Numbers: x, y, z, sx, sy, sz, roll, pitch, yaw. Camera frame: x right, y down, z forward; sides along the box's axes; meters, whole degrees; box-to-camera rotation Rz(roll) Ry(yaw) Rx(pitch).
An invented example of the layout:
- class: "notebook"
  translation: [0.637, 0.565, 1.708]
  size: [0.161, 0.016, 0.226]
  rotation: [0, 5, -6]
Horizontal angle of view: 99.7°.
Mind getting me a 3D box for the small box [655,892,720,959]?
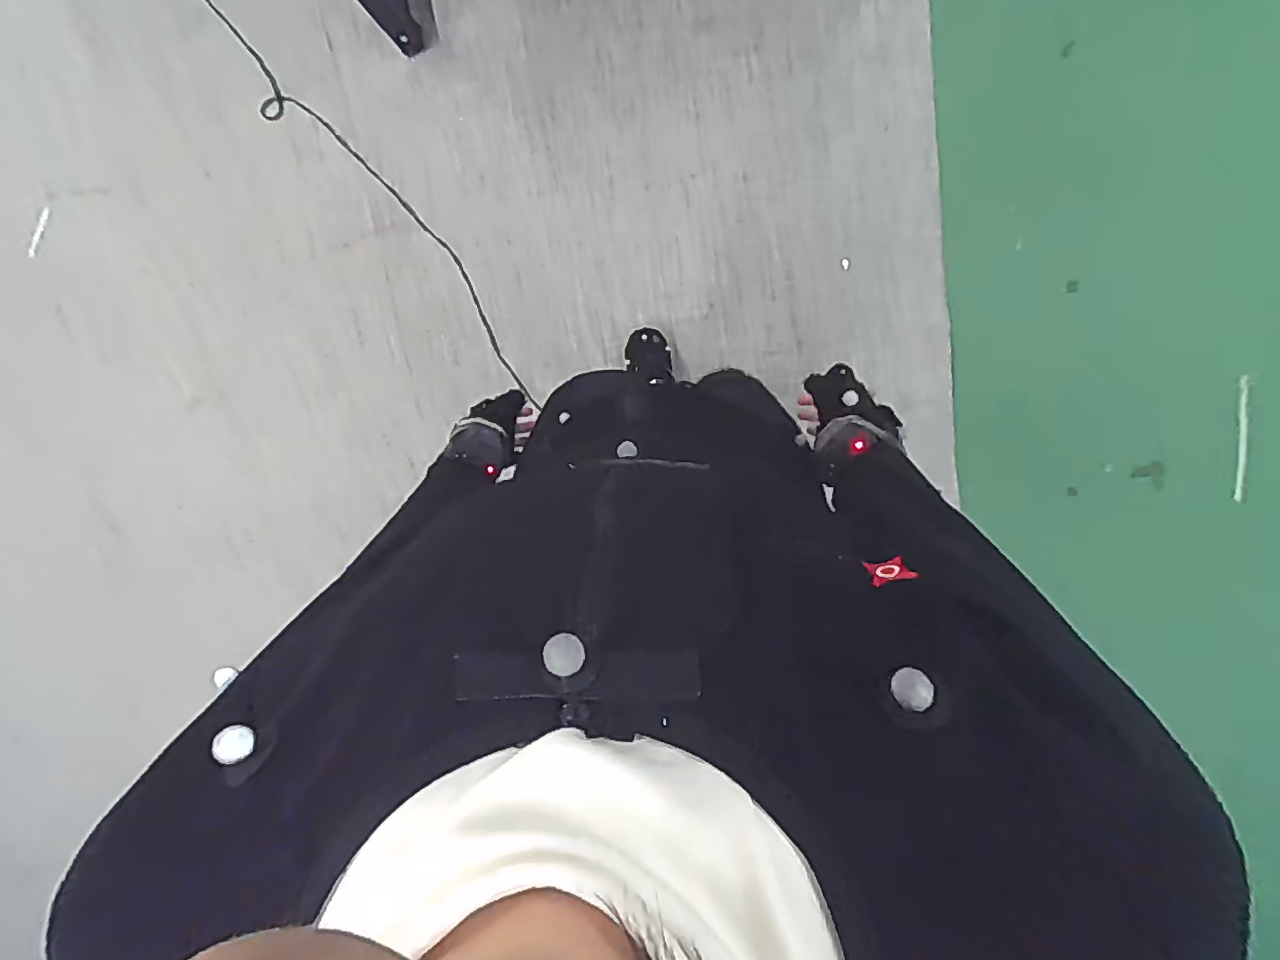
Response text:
- class: "small box"
  translation: [0.146, 1.389, 1.627]
  size: [0.179, 0.176, 0.168]
  rotation: [-9, 101, 4]
